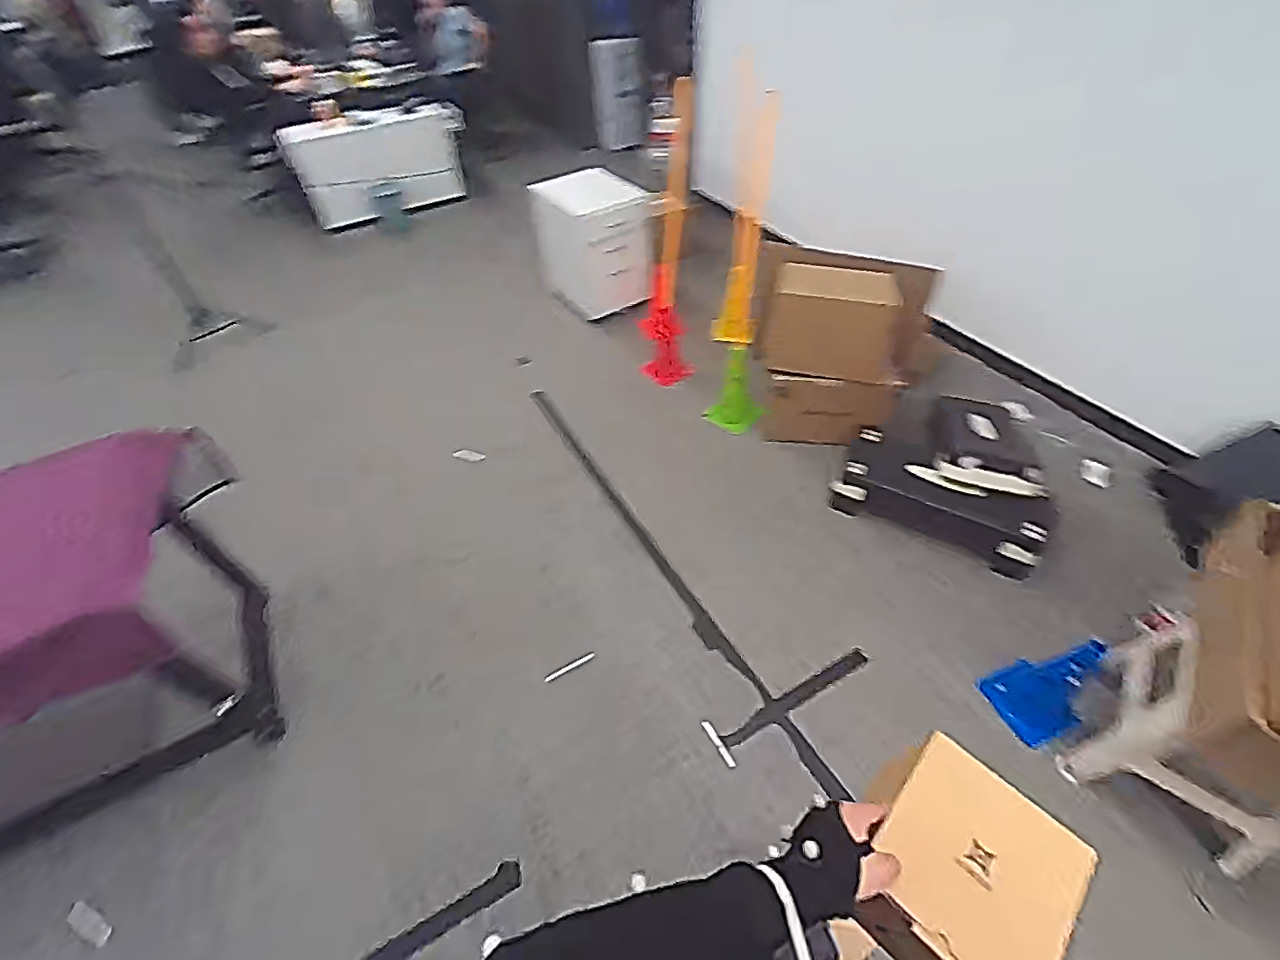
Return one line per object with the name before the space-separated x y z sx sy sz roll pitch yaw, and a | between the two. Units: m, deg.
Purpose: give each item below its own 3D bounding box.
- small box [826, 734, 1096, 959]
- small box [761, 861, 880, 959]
small box | 0.327 0.417 0.582 0.168 0.176 0.179 36 60 25
small box | 0.379 0.975 1.171 0.179 0.176 0.168 -25 51 -19
